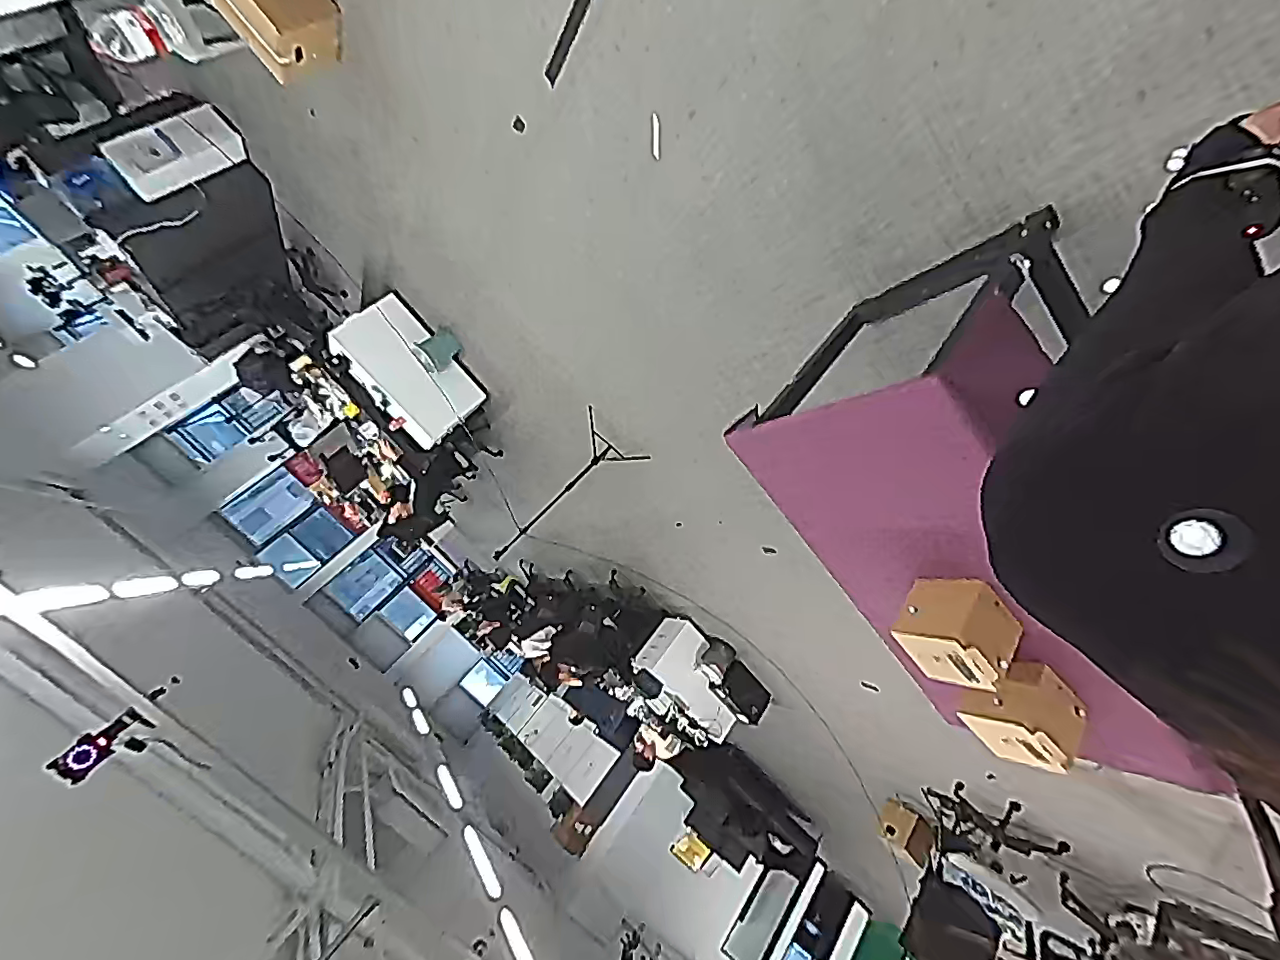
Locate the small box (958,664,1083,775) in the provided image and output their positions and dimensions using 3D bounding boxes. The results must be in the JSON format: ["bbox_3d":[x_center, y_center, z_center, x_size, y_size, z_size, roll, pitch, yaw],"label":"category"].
[{"bbox_3d":[0.920,0.564,1.302,0.168,0.176,0.179,46,155,-5],"label":"small box"}]
